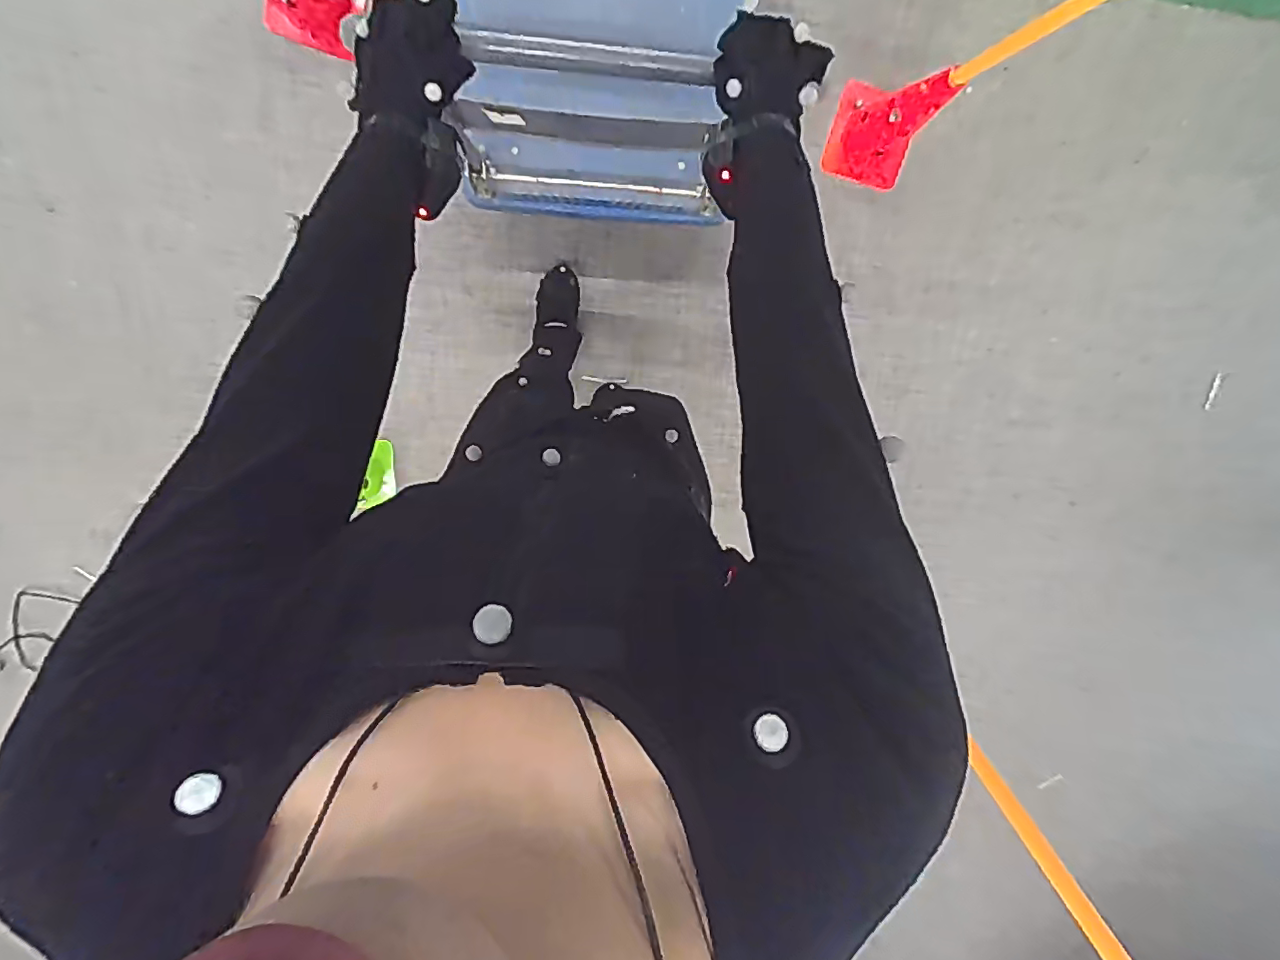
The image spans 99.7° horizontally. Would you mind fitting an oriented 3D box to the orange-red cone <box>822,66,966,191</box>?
[{"bbox_3d":[0.566,-0.778,1.146,0.198,0.360,0.199,15,106,-7],"label":"orange-red cone"}]
